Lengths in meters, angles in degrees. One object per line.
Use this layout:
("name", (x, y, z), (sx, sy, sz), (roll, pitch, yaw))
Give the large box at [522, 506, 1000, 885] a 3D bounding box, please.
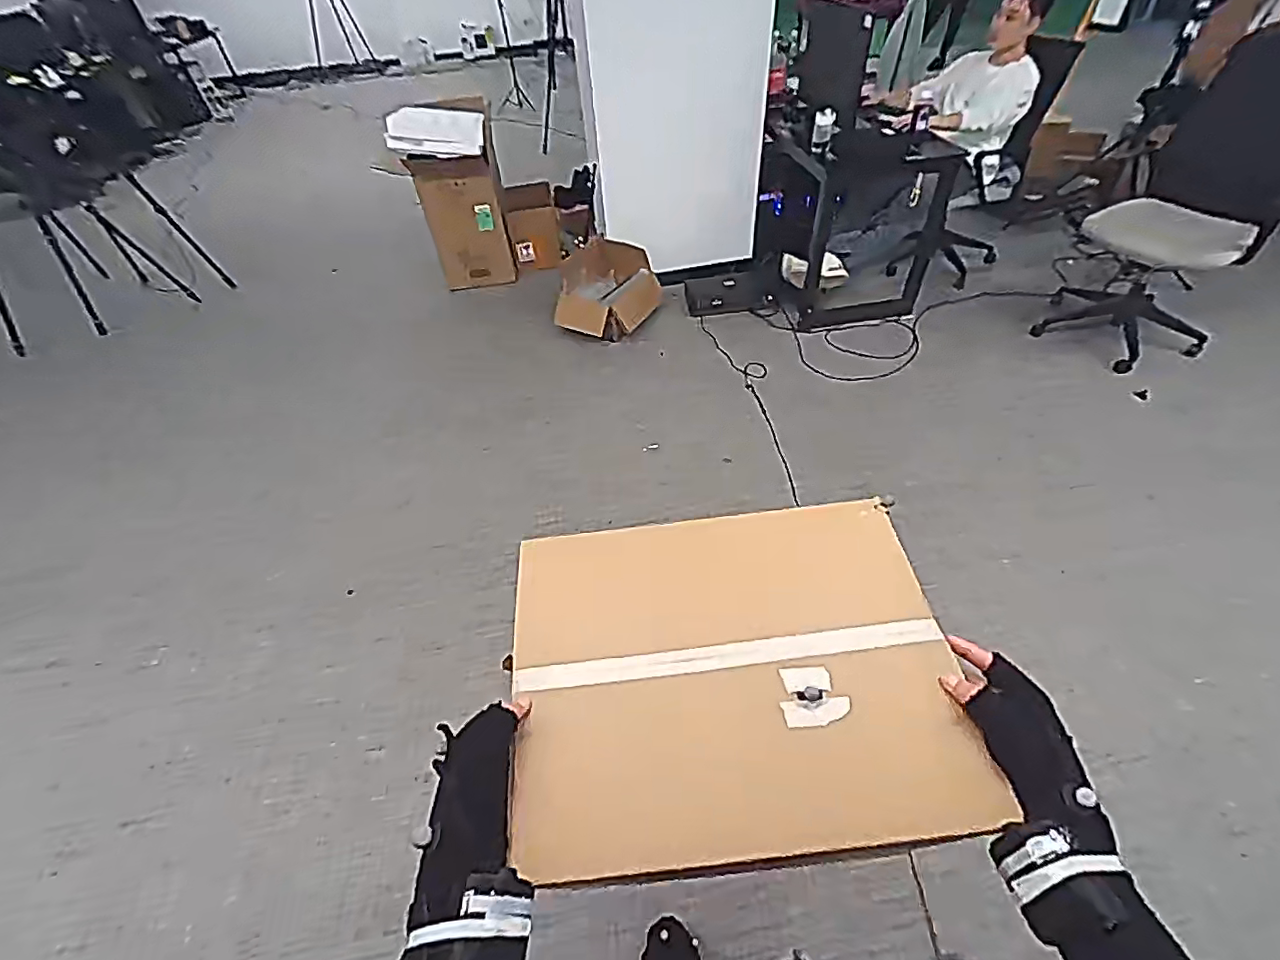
("large box", (0.093, 0.264, 0.645), (0.408, 0.320, 0.320), (-7, 53, 0))
